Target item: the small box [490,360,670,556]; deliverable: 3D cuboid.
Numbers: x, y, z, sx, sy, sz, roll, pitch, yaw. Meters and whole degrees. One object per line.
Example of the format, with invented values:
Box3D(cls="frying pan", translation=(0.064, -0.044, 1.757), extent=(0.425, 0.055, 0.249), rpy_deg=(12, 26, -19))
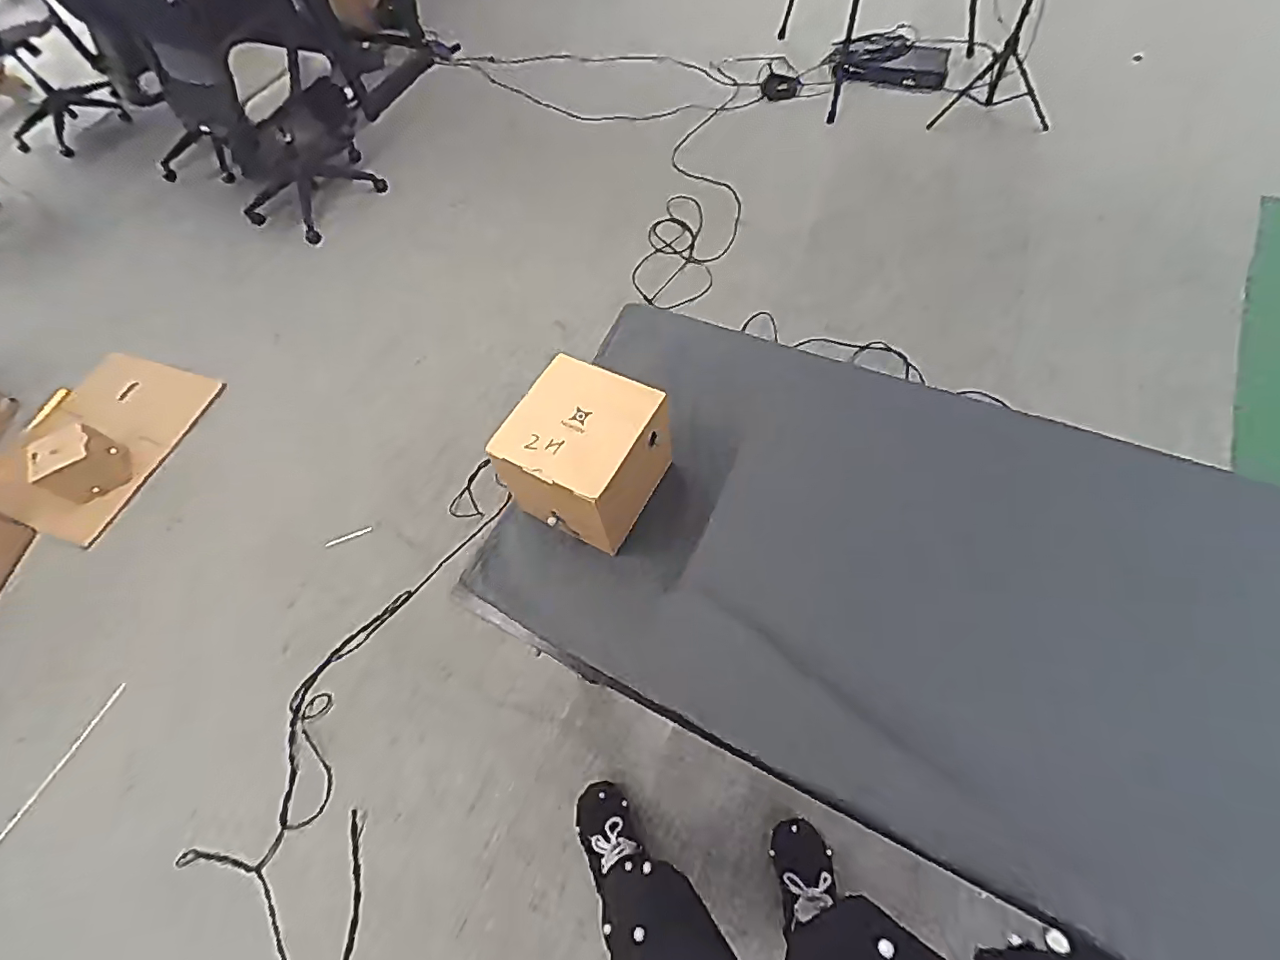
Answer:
Box3D(cls="small box", translation=(-0.069, -0.026, 0.742), extent=(0.168, 0.176, 0.179), rpy_deg=(24, 66, 19))
